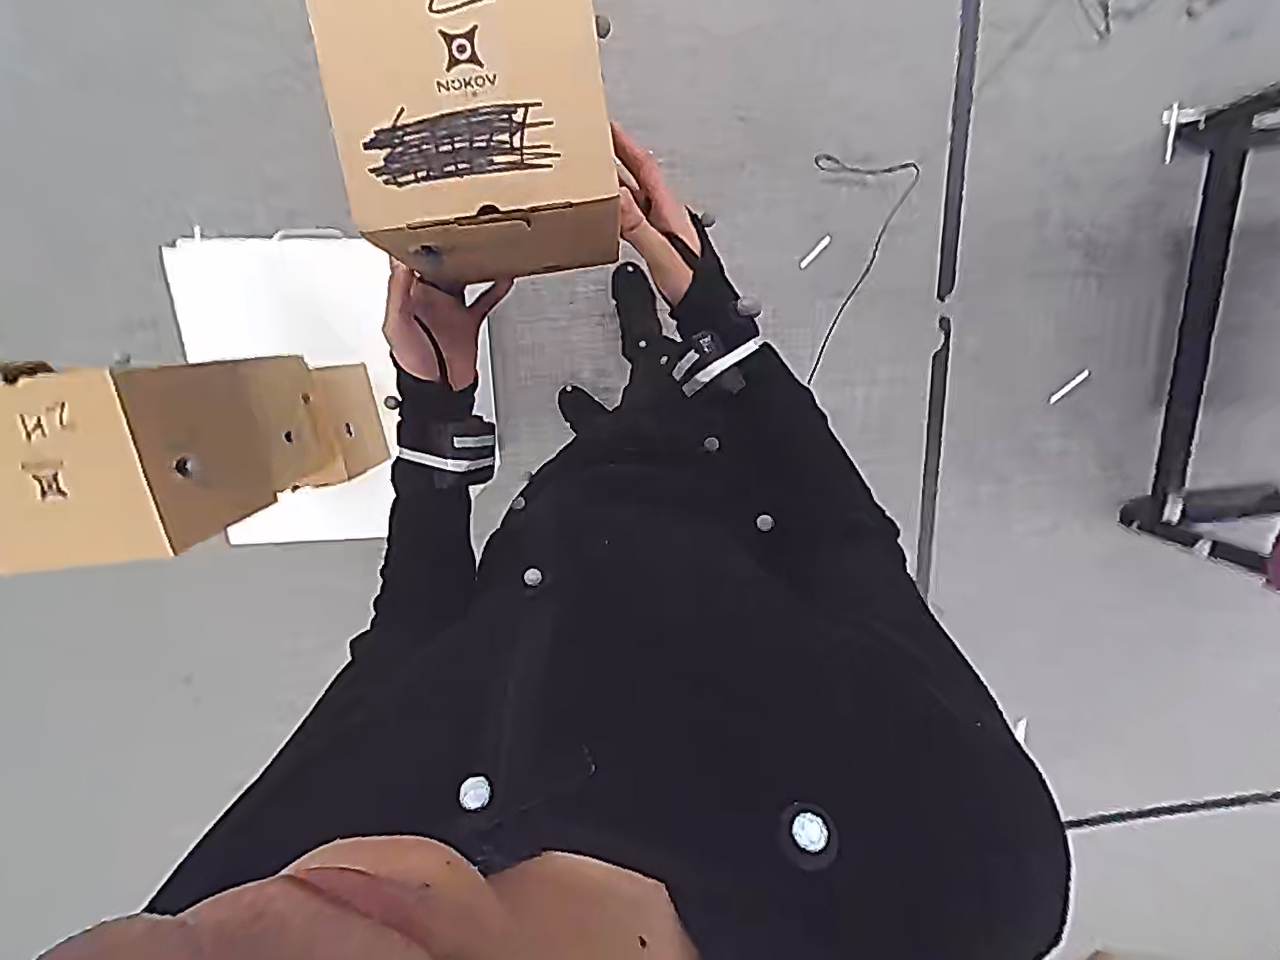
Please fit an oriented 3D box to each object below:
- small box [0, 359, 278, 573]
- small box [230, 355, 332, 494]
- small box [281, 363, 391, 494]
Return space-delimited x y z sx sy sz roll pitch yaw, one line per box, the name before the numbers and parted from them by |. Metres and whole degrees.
small box | -0.515 -0.025 0.555 0.168 0.176 0.179 -7 105 -2
small box | -0.539 -0.069 0.713 0.179 0.176 0.168 -9 105 -1
small box | -0.531 -0.088 0.876 0.168 0.176 0.179 -10 105 -1
